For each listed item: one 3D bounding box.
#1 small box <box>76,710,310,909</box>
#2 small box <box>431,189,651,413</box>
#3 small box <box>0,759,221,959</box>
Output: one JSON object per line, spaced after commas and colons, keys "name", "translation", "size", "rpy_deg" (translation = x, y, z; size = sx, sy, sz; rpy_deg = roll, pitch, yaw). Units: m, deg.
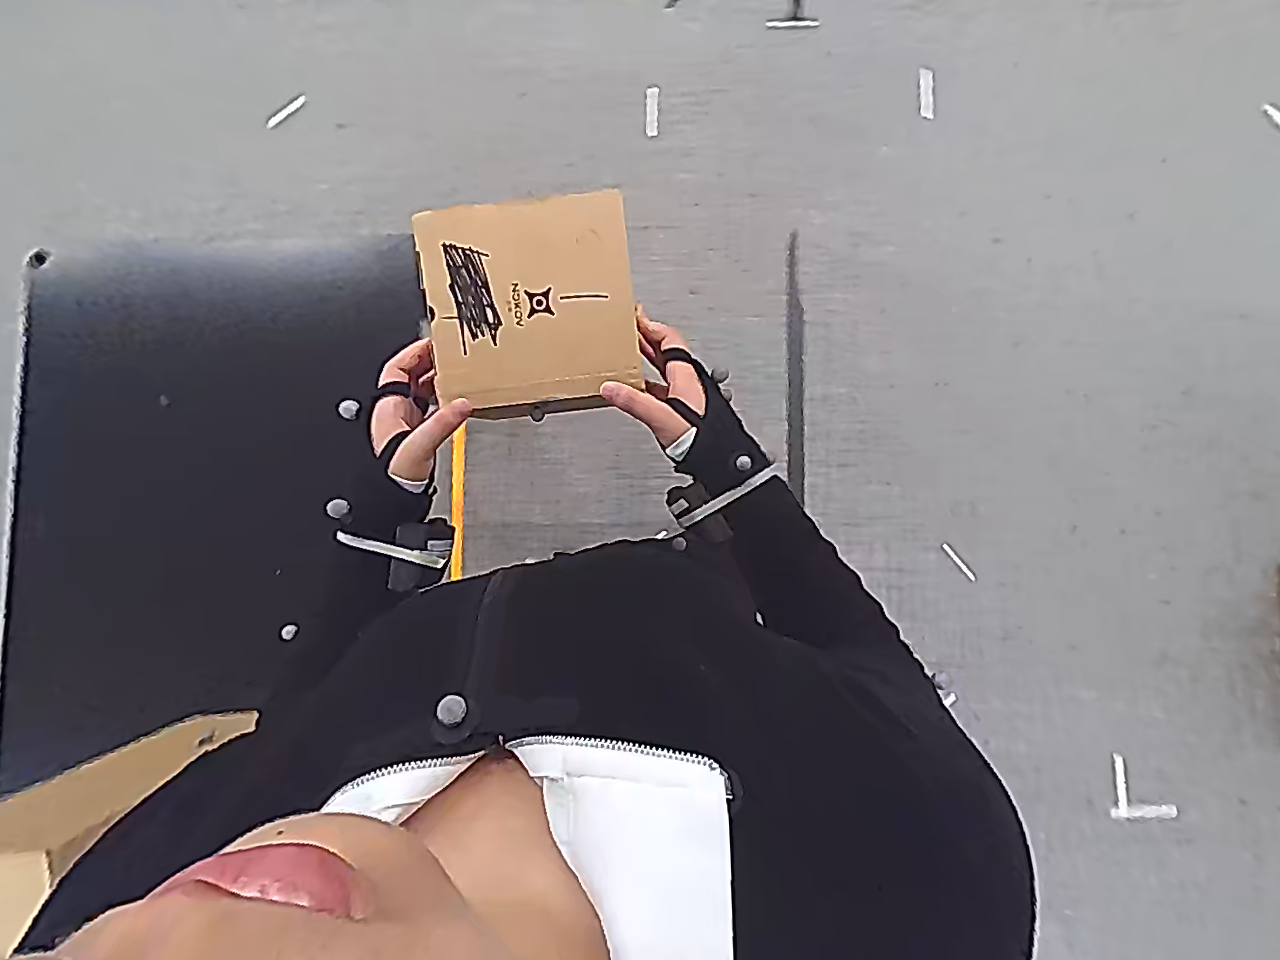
{"name": "small box", "translation": [-0.548, 0.407, 0.687], "size": [0.179, 0.176, 0.168], "rpy_deg": [-5, 86, 1]}
{"name": "small box", "translation": [-0.082, -0.158, 0.532], "size": [0.179, 0.176, 0.168], "rpy_deg": [-5, 94, 0]}
{"name": "small box", "translation": [-0.556, 0.394, 0.521], "size": [0.179, 0.176, 0.168], "rpy_deg": [-6, 86, 1]}
